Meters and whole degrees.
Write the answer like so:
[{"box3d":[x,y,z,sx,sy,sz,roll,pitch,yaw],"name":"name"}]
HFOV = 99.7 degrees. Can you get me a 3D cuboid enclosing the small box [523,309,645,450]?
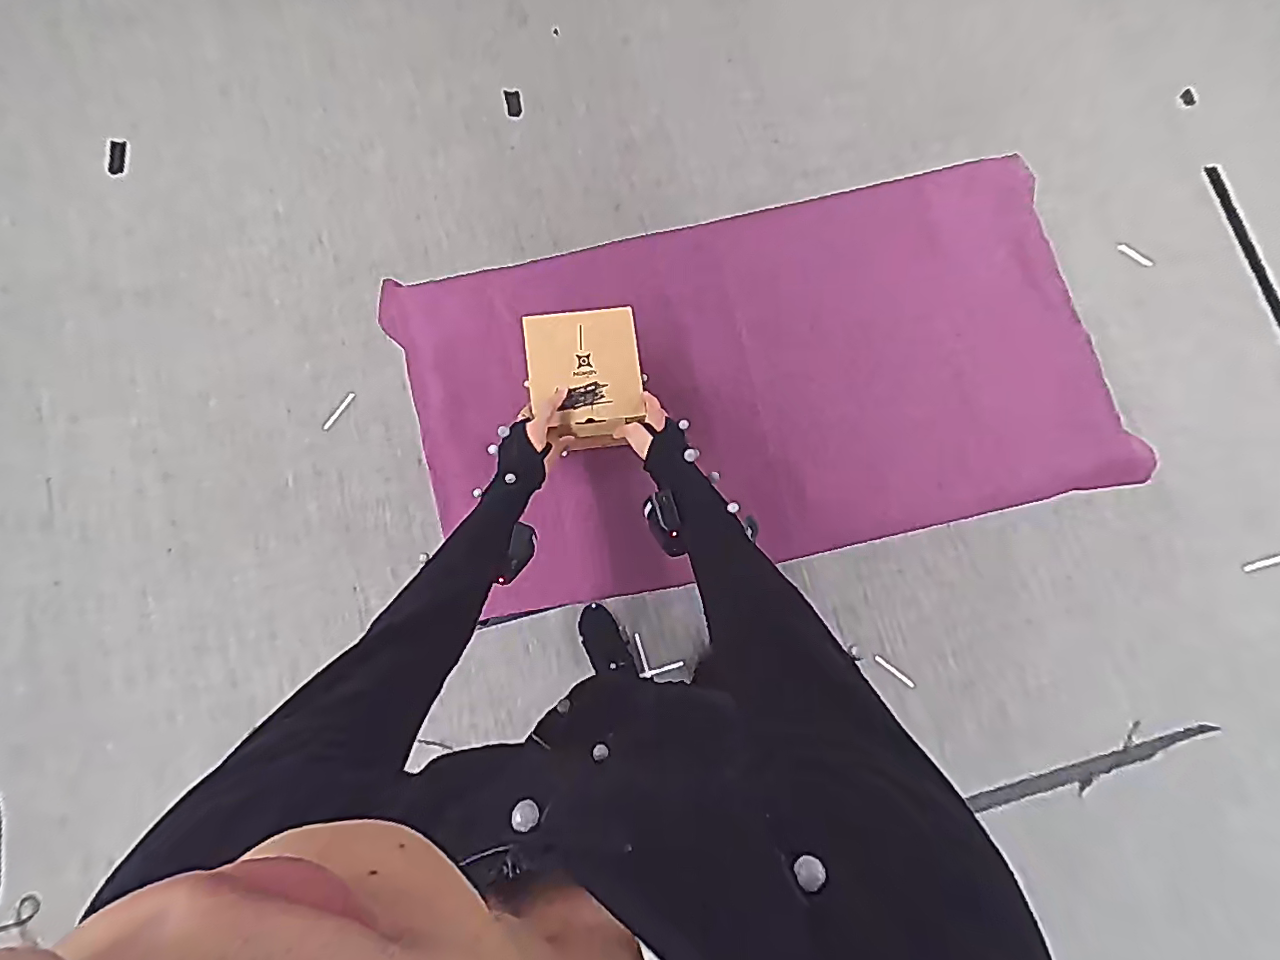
[{"box3d":[-0.085,-0.149,0.864,0.168,0.176,0.179,-7,81,-4],"name":"small box"}]
